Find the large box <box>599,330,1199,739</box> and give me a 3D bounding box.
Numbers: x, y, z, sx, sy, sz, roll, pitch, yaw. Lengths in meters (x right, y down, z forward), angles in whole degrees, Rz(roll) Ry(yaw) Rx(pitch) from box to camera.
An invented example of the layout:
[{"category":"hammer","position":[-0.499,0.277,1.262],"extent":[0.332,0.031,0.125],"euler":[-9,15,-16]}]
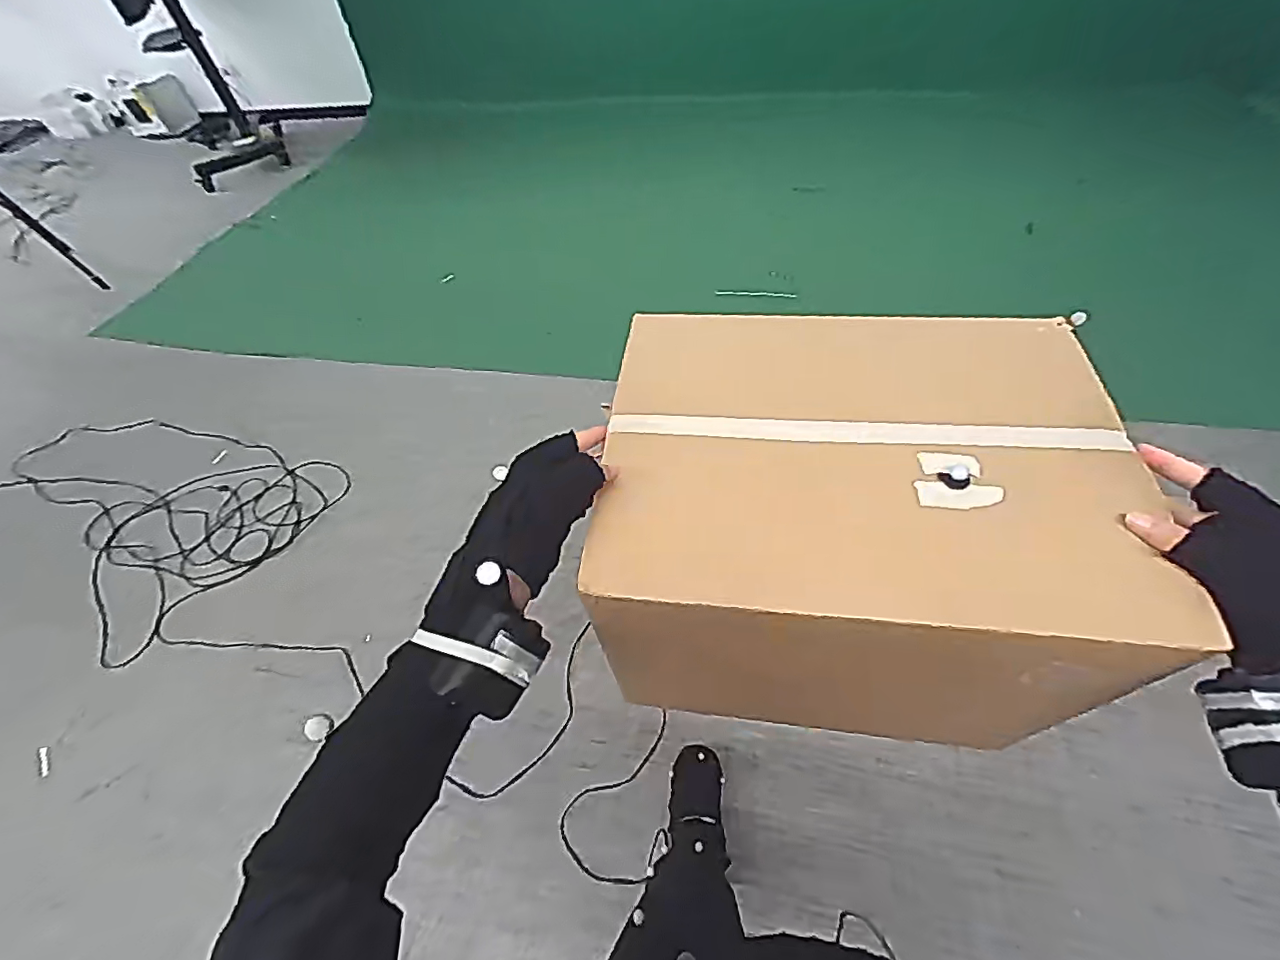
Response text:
[{"category":"large box","position":[0.191,0.061,0.576],"extent":[0.408,0.320,0.320],"euler":[3,54,8]}]
